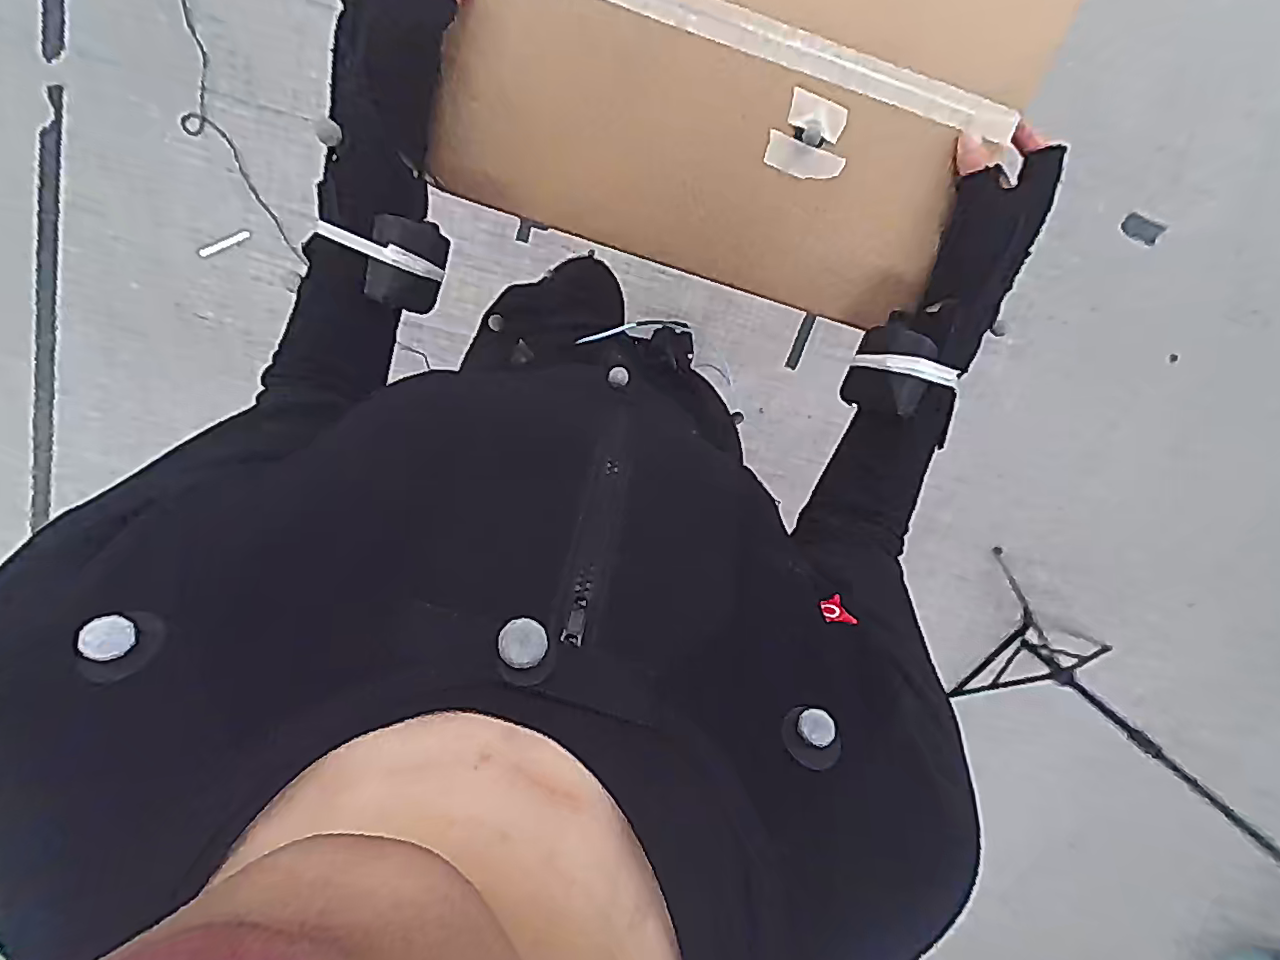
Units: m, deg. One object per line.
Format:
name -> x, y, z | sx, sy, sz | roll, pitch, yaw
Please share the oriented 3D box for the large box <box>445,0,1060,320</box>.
large box -> 0.076, -0.385, 0.511 | 0.408, 0.320, 0.320 | 15, 119, -7
